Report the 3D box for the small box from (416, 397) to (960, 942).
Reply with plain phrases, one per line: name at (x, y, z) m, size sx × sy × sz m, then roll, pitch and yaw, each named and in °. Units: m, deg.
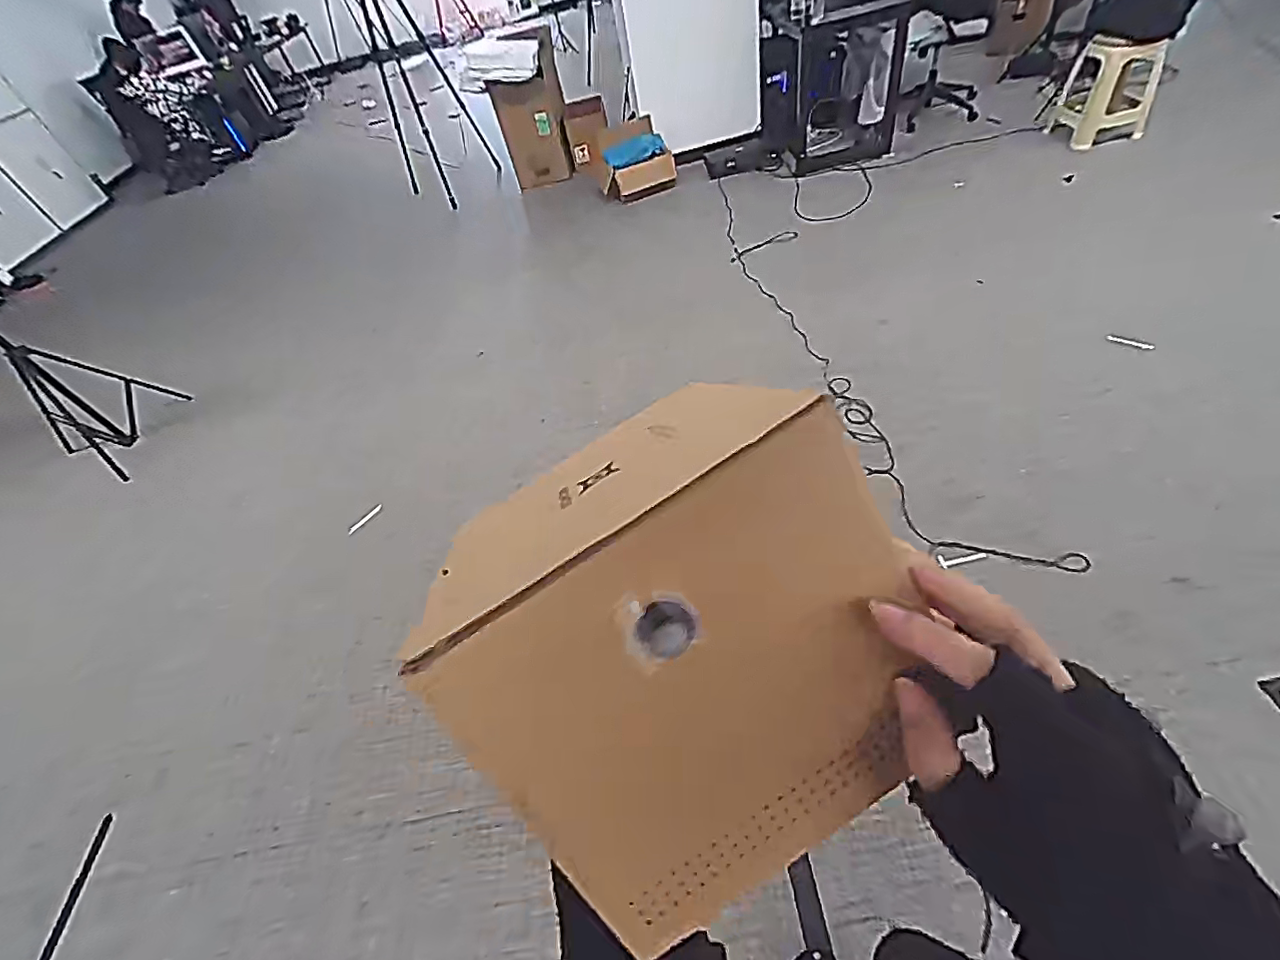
small box at (0.021, 0.075, 0.283) m, size 0.179 × 0.176 × 0.168 m, roll -32°, pitch 16°, yaw -5°
